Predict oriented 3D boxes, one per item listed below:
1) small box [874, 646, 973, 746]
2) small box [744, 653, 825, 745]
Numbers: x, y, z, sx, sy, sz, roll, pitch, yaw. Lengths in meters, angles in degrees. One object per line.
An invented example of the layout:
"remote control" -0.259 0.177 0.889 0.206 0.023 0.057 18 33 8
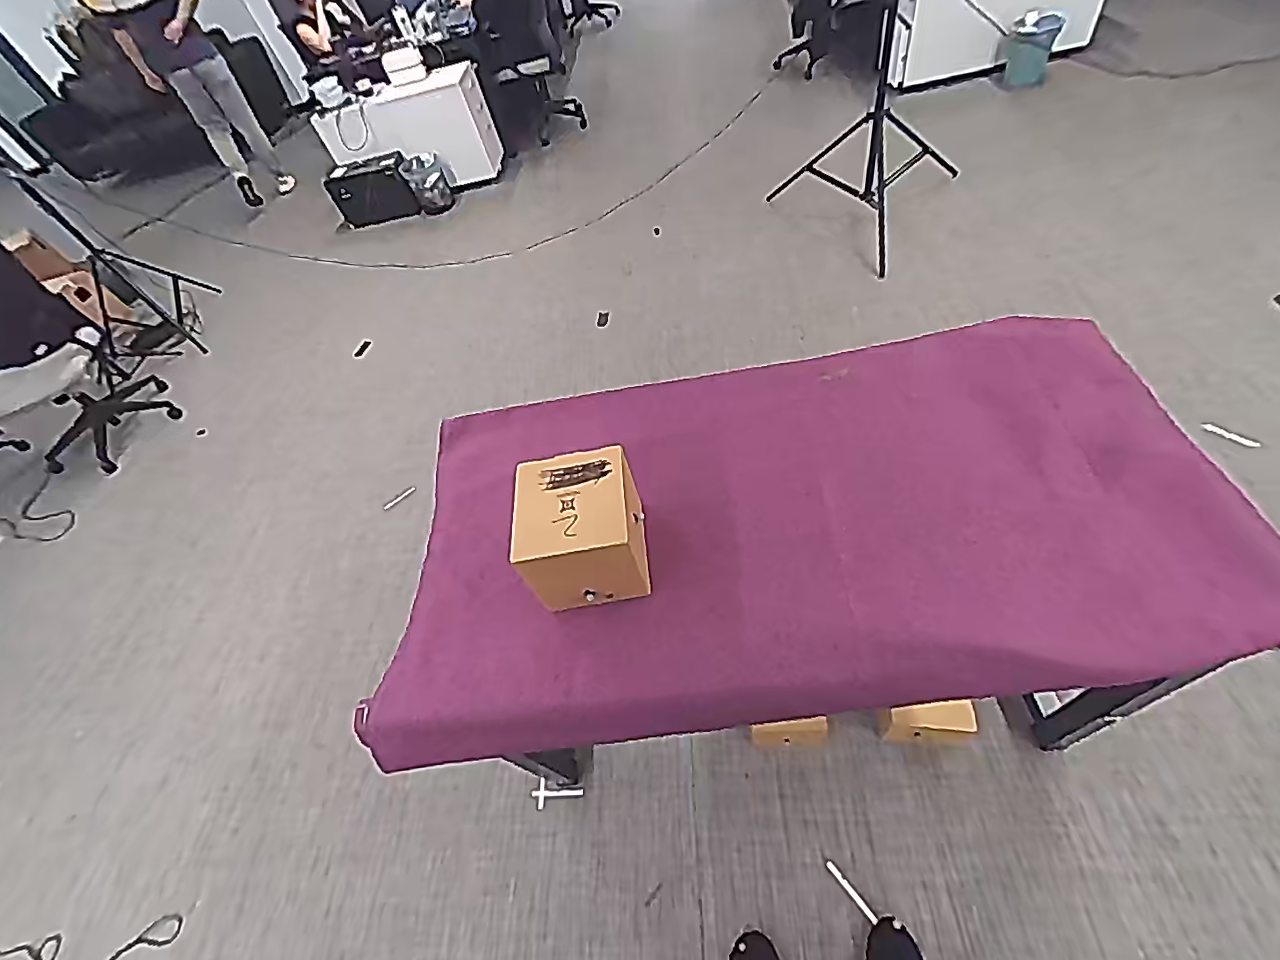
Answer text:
"small box" 0.650 0.506 1.261 0.168 0.176 0.179 -1 53 14
"small box" 0.347 0.536 1.312 0.168 0.176 0.179 -6 52 9
